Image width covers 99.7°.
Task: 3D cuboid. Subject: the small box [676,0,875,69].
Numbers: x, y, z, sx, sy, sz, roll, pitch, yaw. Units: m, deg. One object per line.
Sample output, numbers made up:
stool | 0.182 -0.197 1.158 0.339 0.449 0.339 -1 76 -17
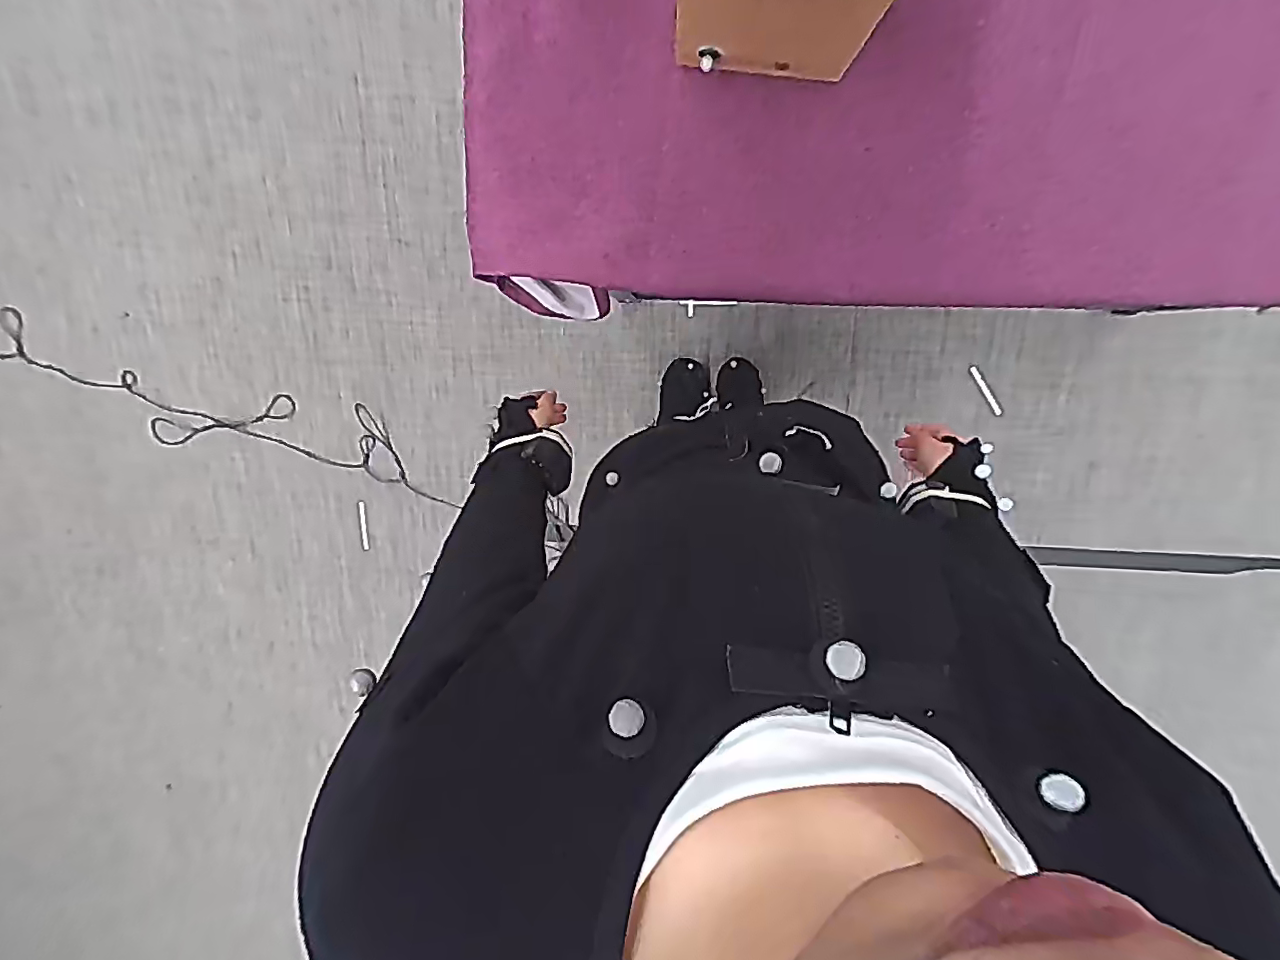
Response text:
small box | 0.120 -0.470 0.434 0.168 0.176 0.179 7 105 1
